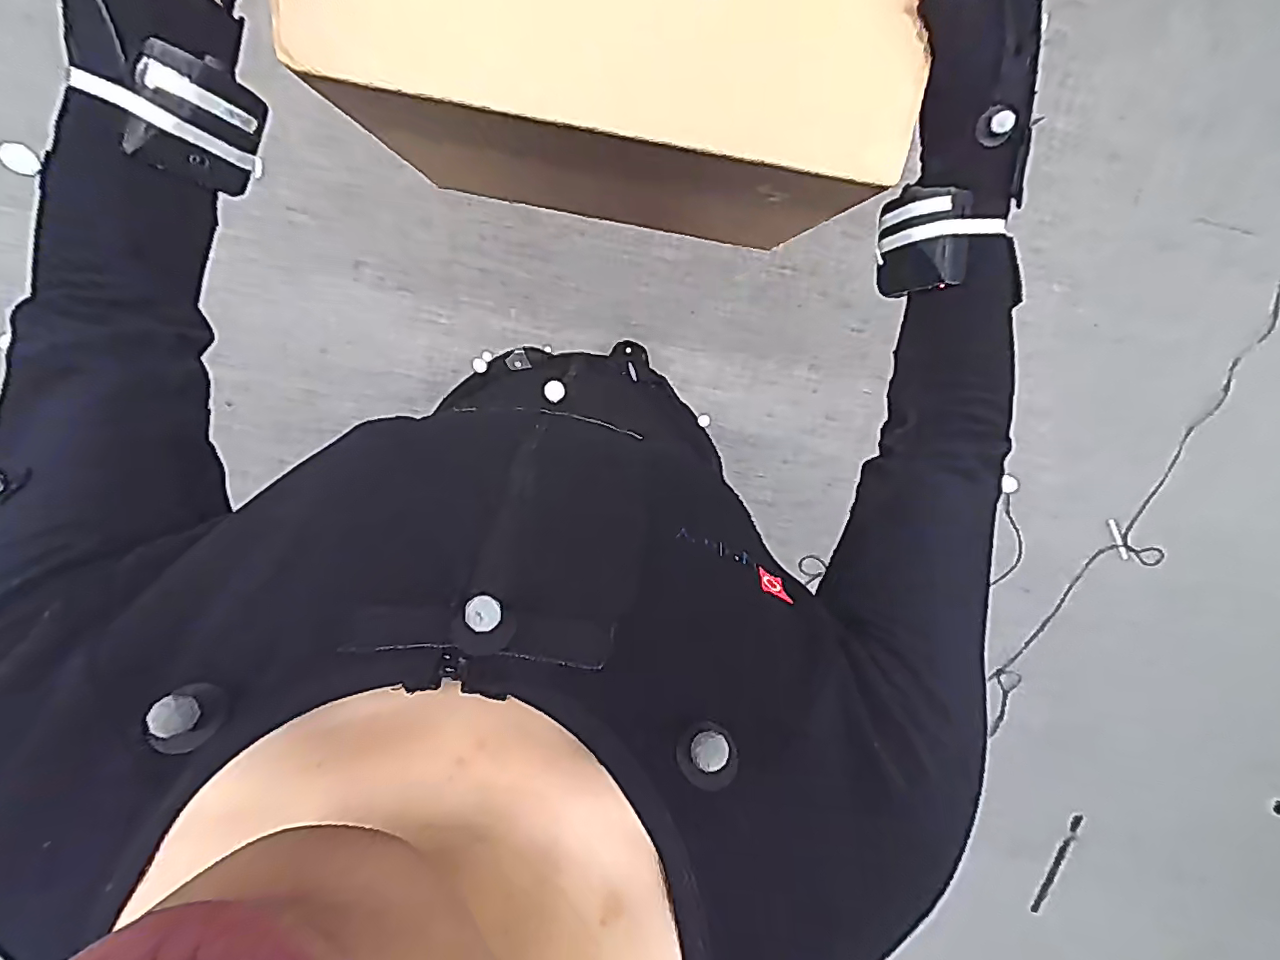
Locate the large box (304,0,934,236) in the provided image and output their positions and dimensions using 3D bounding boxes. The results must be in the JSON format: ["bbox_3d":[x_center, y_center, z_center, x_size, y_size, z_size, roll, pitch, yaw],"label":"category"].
[{"bbox_3d":[-0.005,-0.426,0.465,0.408,0.320,0.320,8,106,-5],"label":"large box"}]
